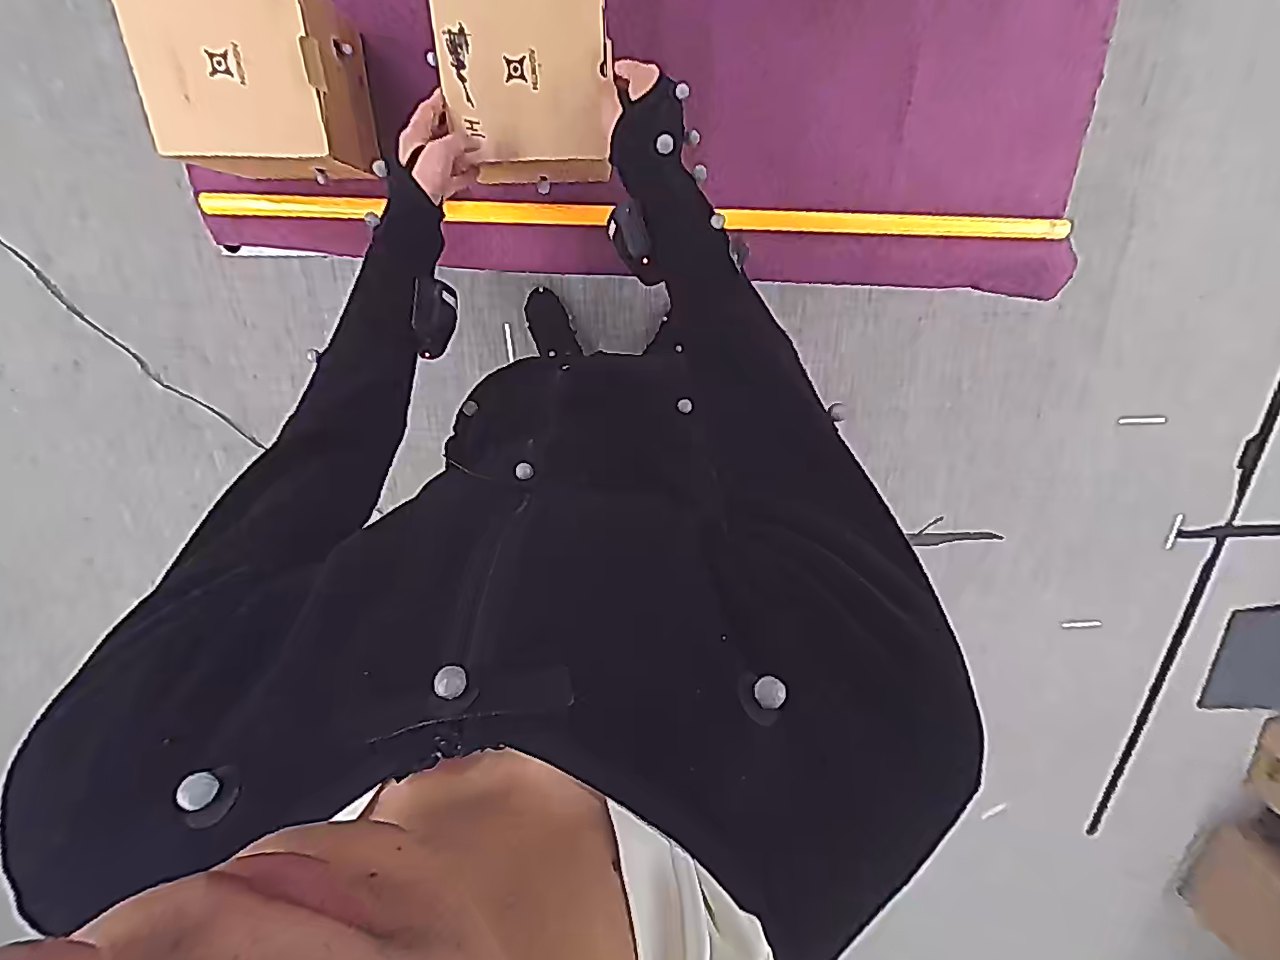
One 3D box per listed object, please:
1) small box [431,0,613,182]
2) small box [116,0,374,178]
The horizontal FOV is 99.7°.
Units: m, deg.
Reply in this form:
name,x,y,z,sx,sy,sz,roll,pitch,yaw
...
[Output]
name,x,y,z,sx,sy,sz,roll,pitch,yaw
small box,-0.127,-0.455,0.634,0.179,0.176,0.168,-3,112,-4
small box,-0.423,-0.451,0.616,0.179,0.176,0.168,-3,112,-5
